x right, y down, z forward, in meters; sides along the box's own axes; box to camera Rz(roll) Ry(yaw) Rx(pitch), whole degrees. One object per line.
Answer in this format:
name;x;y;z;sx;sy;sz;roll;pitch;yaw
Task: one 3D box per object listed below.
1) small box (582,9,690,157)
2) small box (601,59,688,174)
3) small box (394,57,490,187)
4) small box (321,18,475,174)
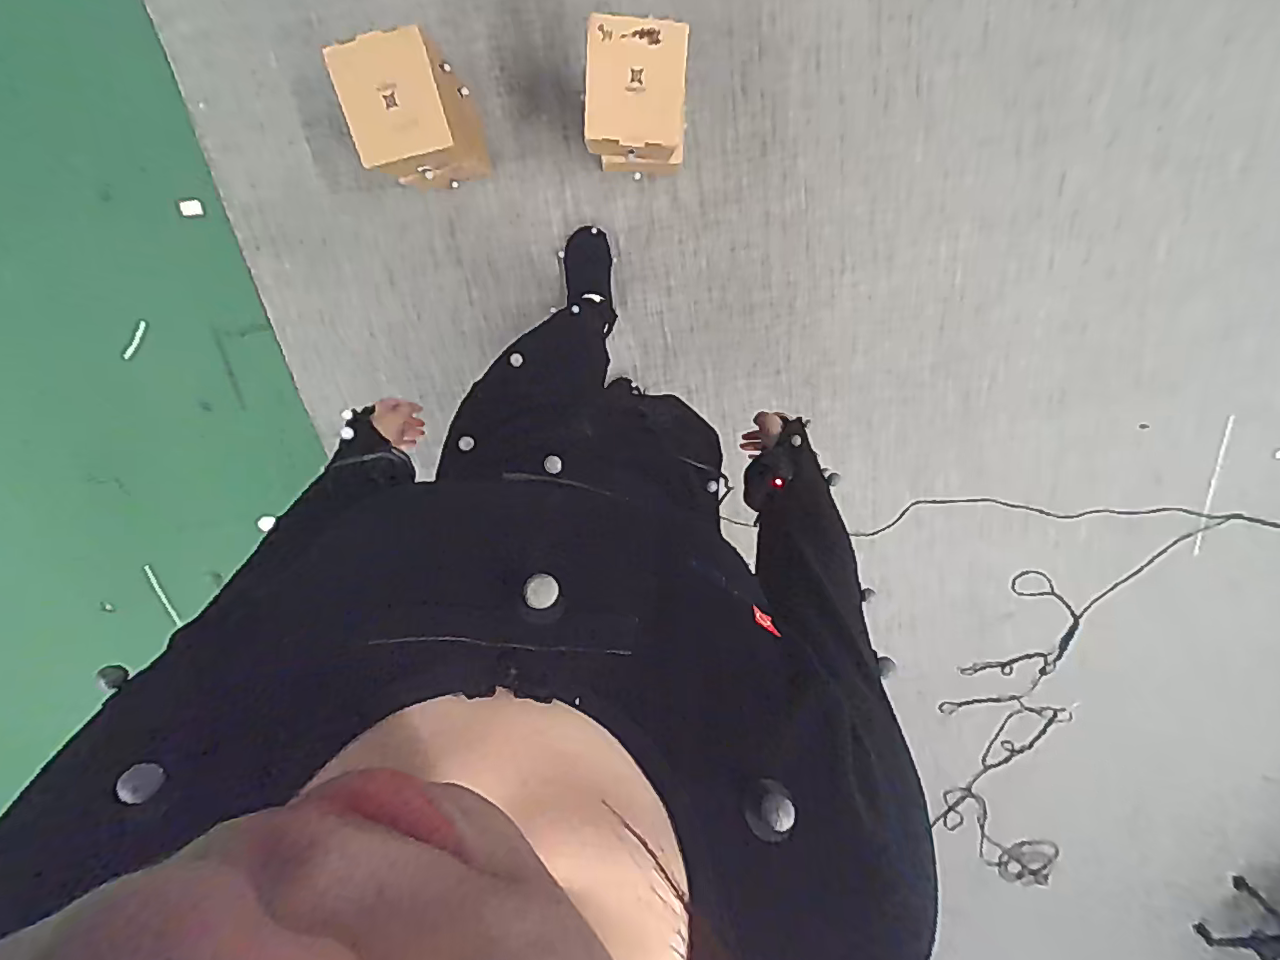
small box;-0.011;-0.691;0.963;0.168;0.176;0.179;4;114;-4
small box;0.002;-0.747;1.118;0.168;0.176;0.179;0;114;-2
small box;-0.425;-0.722;1.109;0.168;0.176;0.179;-13;113;3
small box;-0.414;-0.665;0.959;0.168;0.176;0.179;-13;114;4
